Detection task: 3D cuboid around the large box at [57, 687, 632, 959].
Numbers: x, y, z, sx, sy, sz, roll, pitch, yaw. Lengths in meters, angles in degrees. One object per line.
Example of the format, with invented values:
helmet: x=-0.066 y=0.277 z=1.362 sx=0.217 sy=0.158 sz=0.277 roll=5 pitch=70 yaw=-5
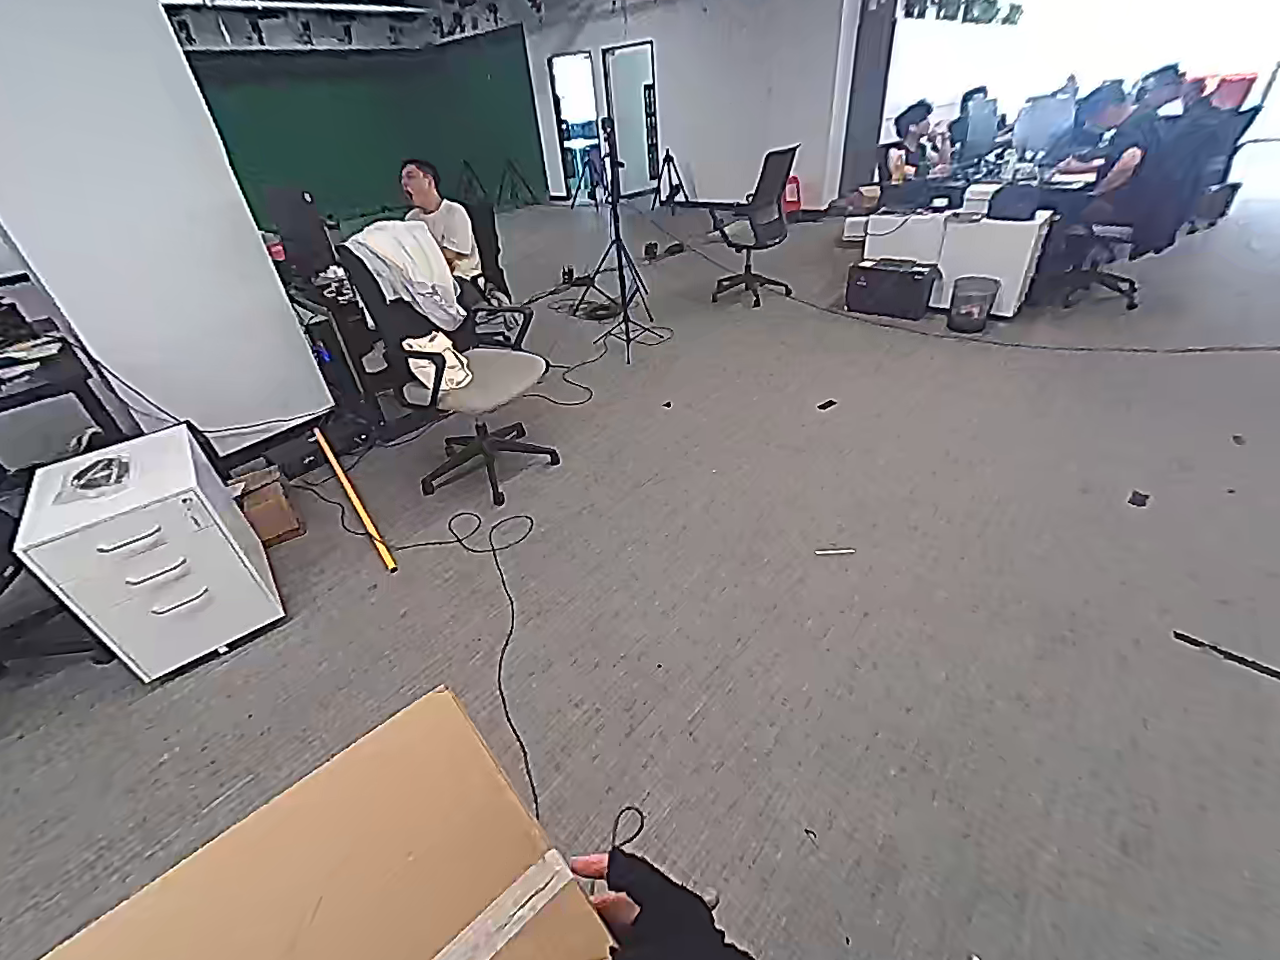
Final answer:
large box: x=-0.206 y=0.443 z=0.371 sx=0.408 sy=0.320 sz=0.320 roll=-31 pitch=57 yaw=-28
